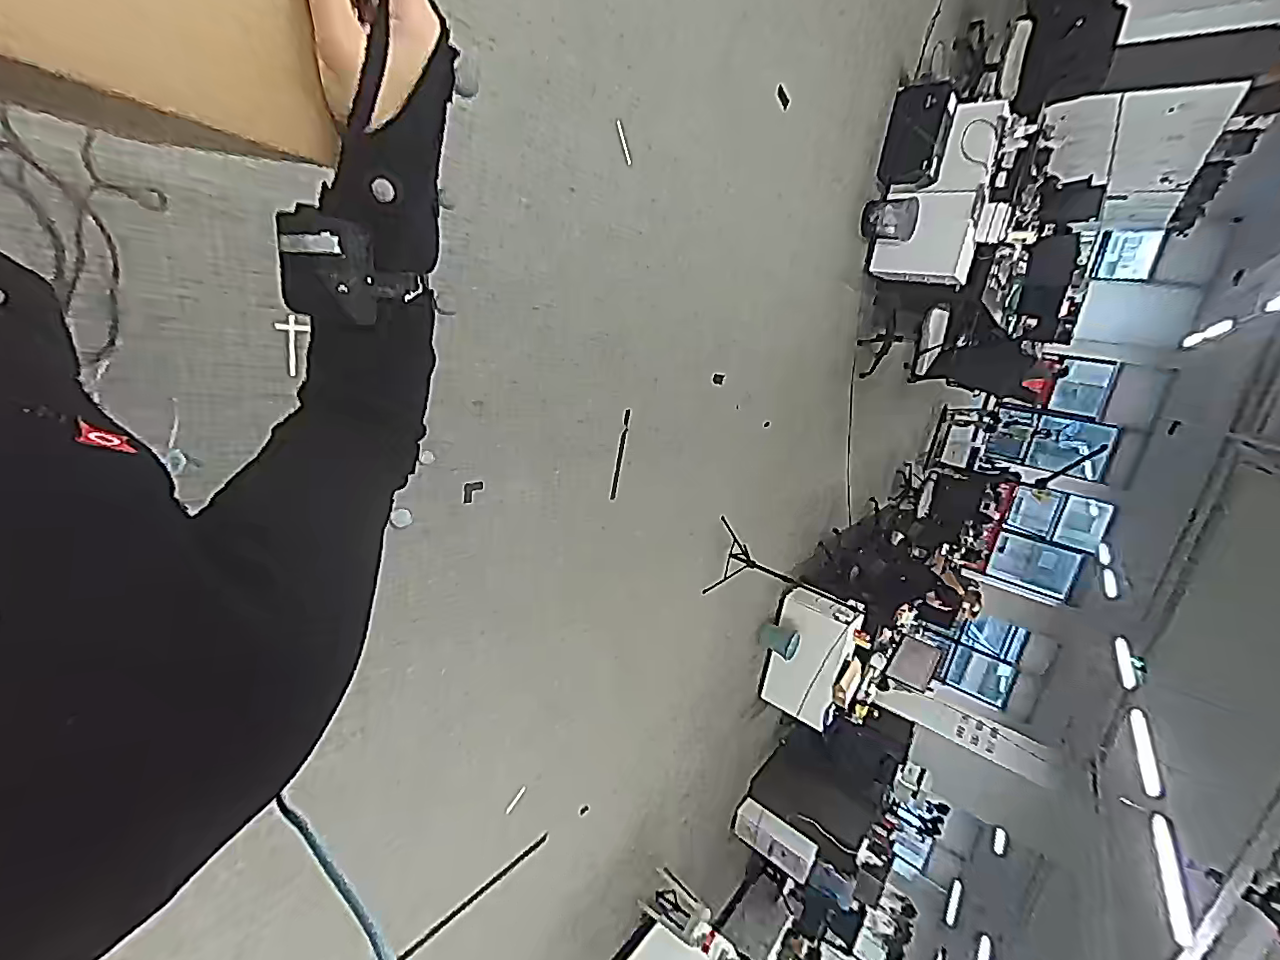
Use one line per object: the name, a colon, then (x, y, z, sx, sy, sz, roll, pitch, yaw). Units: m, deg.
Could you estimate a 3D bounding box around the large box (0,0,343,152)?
large box: (-0.379, -0.358, 0.187, 0.408, 0.320, 0.320, -14, 123, -56)
